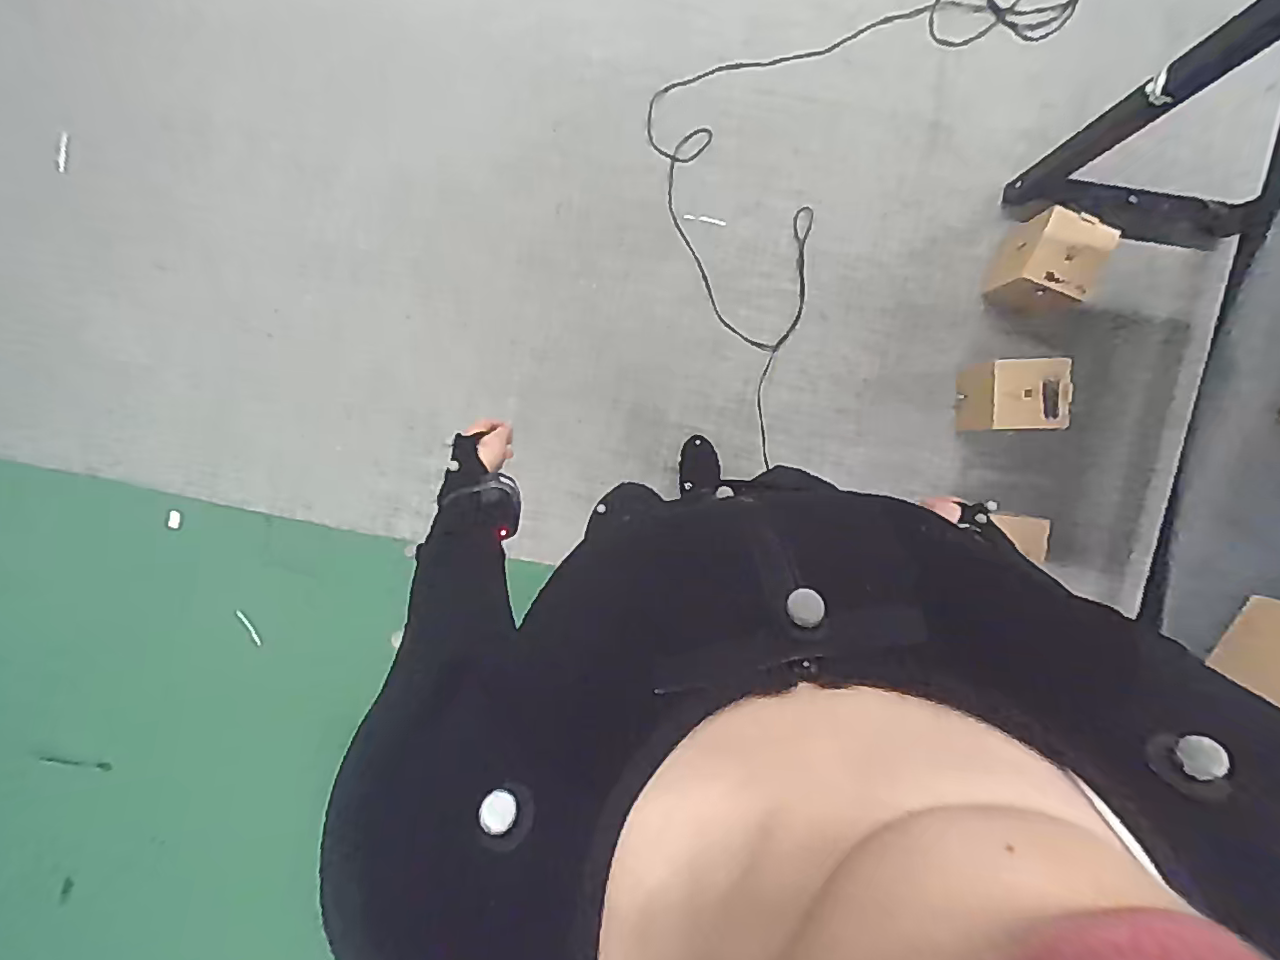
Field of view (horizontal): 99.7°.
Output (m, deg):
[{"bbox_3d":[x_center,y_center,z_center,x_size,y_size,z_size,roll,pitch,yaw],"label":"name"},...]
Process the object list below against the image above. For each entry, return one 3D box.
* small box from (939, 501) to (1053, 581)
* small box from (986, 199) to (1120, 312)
[{"bbox_3d":[0.892,0.148,1.372,0.179,0.176,0.168,5,95,2],"label":"small box"},{"bbox_3d":[0.992,-0.537,1.317,0.168,0.176,0.179,22,94,1],"label":"small box"}]
